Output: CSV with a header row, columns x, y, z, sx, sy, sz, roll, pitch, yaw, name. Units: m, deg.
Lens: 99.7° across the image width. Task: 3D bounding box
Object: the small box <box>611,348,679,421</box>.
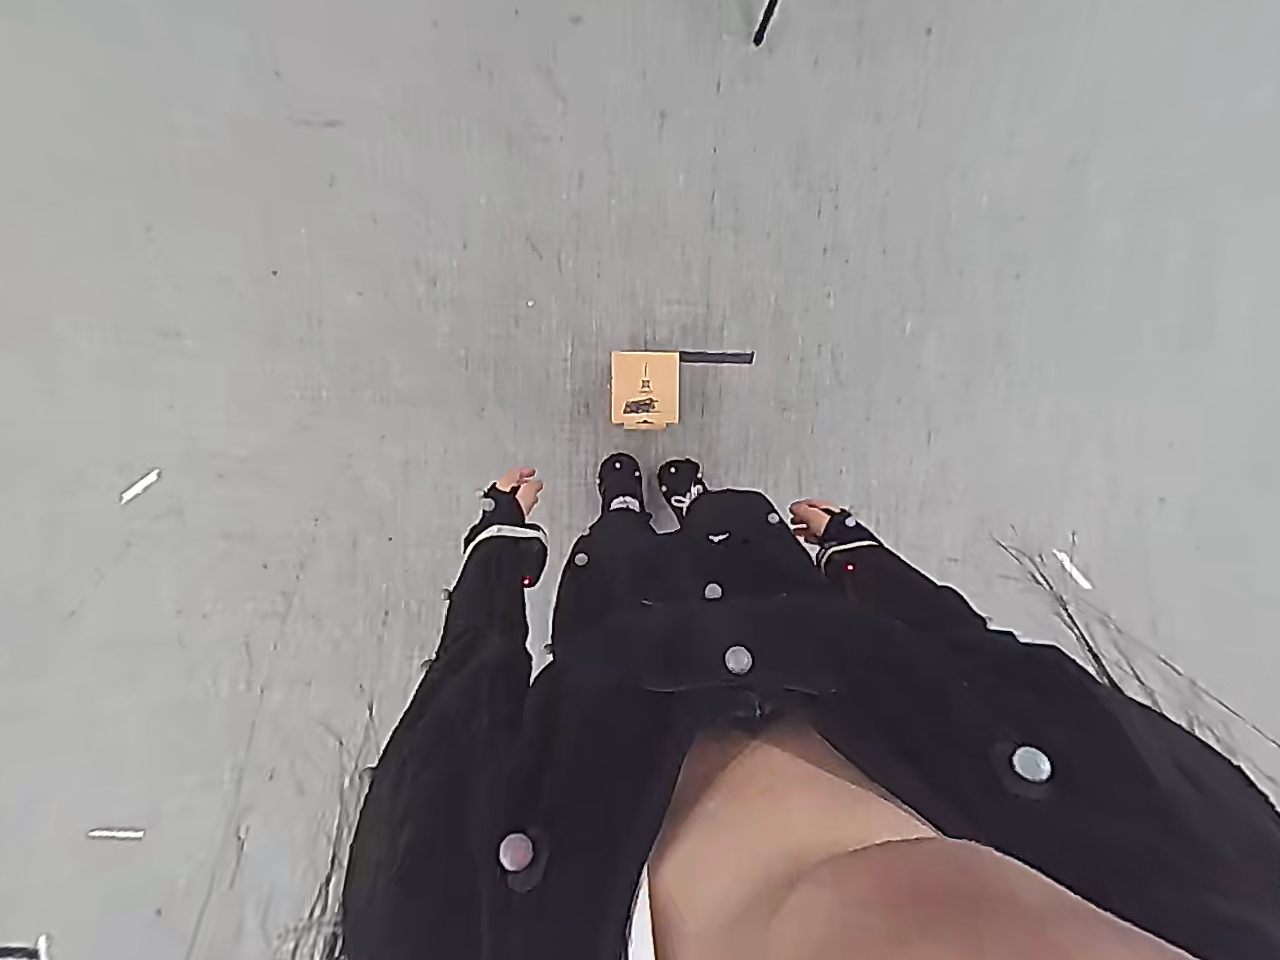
x,y,z,sx,sy,sz,roll,pitch,yaw,name
0.011,-0.240,1.395,0.168,0.176,0.179,0,95,-1,small box
